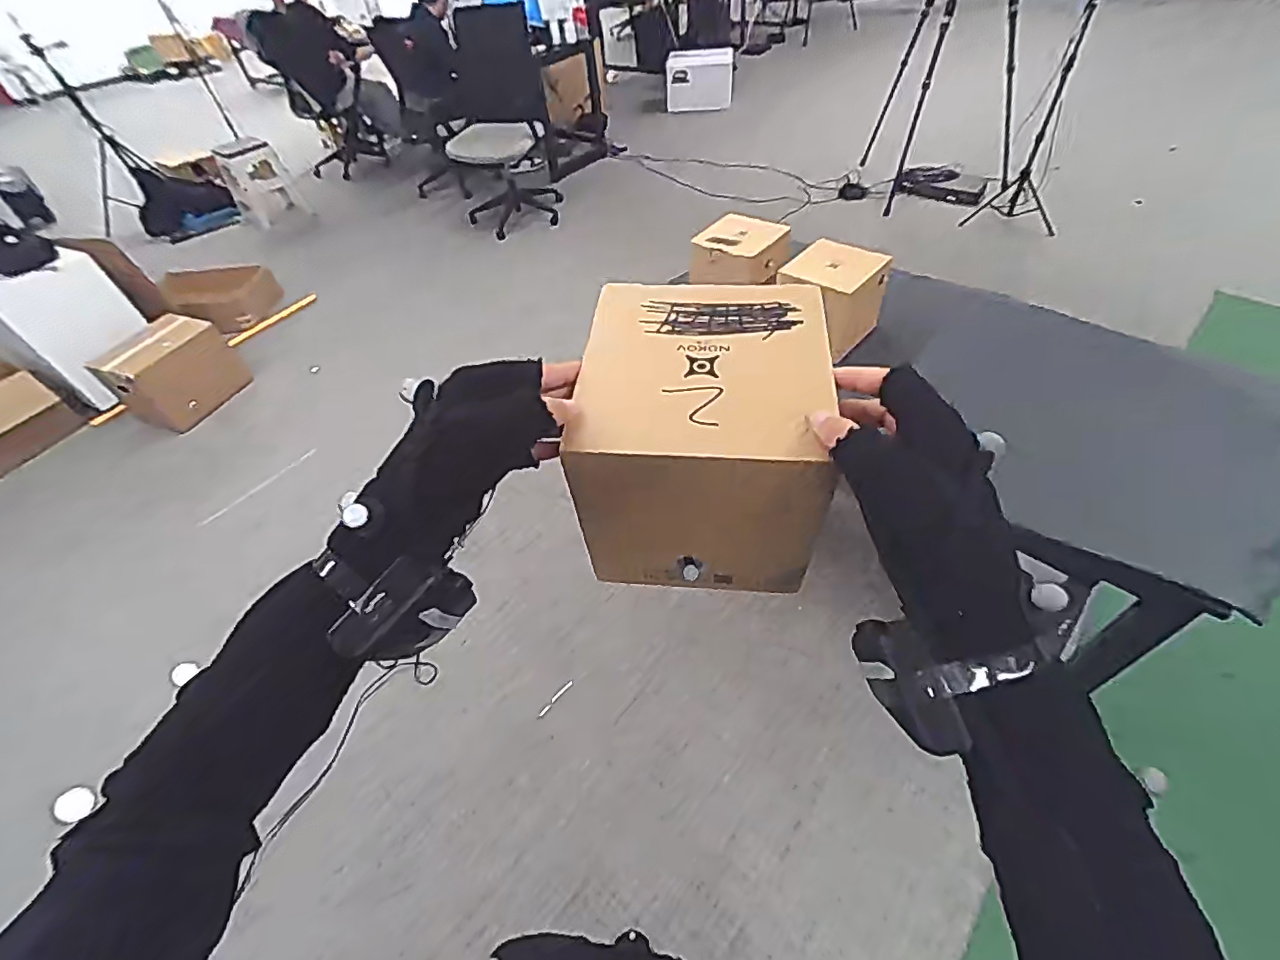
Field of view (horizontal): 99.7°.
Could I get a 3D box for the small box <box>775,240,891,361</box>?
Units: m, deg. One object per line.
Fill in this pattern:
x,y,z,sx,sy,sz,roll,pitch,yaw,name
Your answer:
0.403,-0.383,1.156,0.168,0.176,0.179,32,58,30,small box

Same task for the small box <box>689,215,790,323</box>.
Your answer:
0.232,-0.495,1.275,0.168,0.176,0.179,29,56,28,small box
